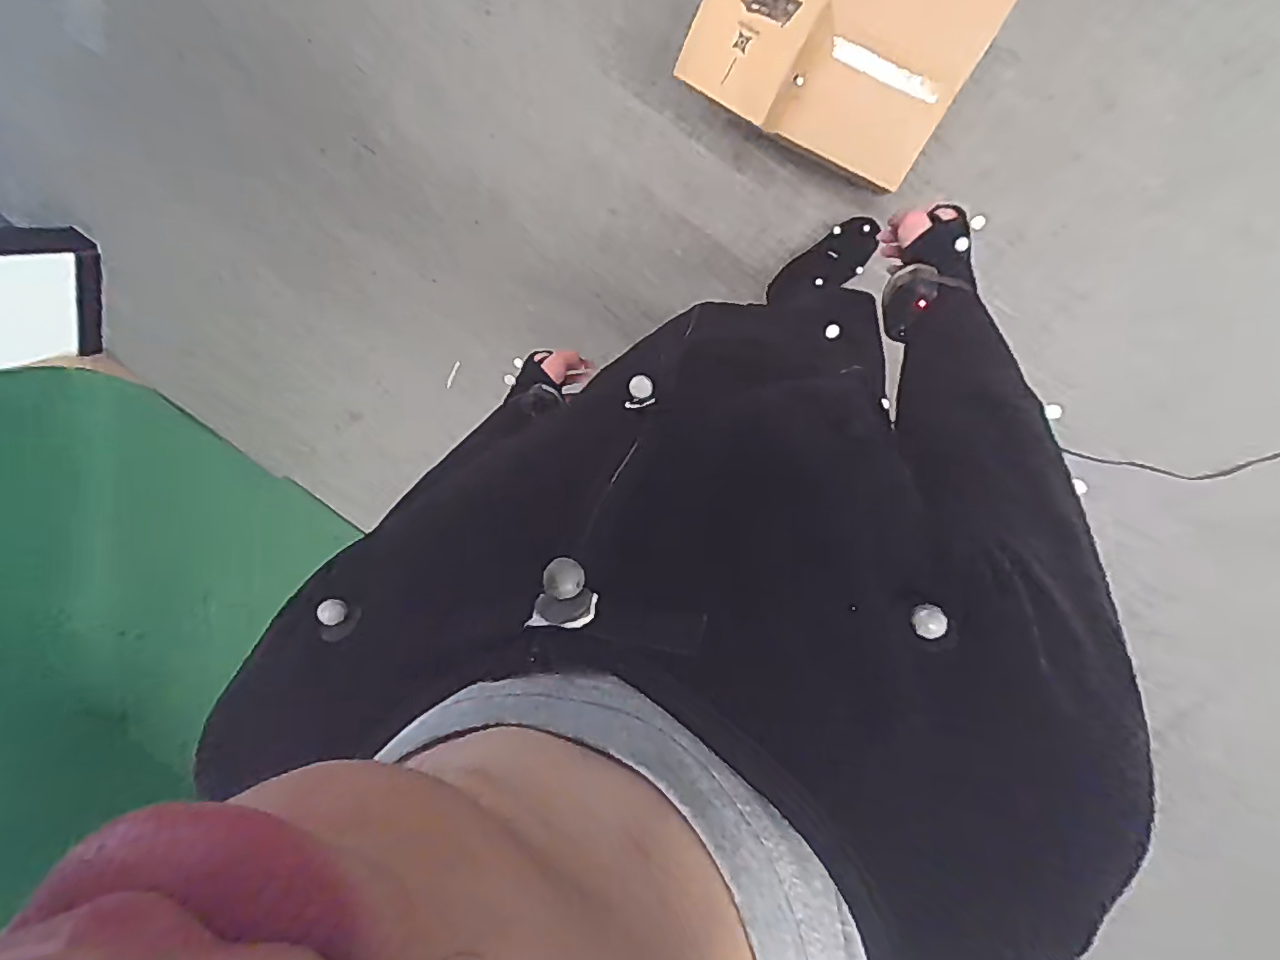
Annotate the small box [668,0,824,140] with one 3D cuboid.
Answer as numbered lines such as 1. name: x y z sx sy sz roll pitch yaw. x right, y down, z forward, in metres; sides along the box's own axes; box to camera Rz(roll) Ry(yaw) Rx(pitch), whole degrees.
1. small box: 0.172 -0.674 0.859 0.168 0.176 0.179 33 124 2
